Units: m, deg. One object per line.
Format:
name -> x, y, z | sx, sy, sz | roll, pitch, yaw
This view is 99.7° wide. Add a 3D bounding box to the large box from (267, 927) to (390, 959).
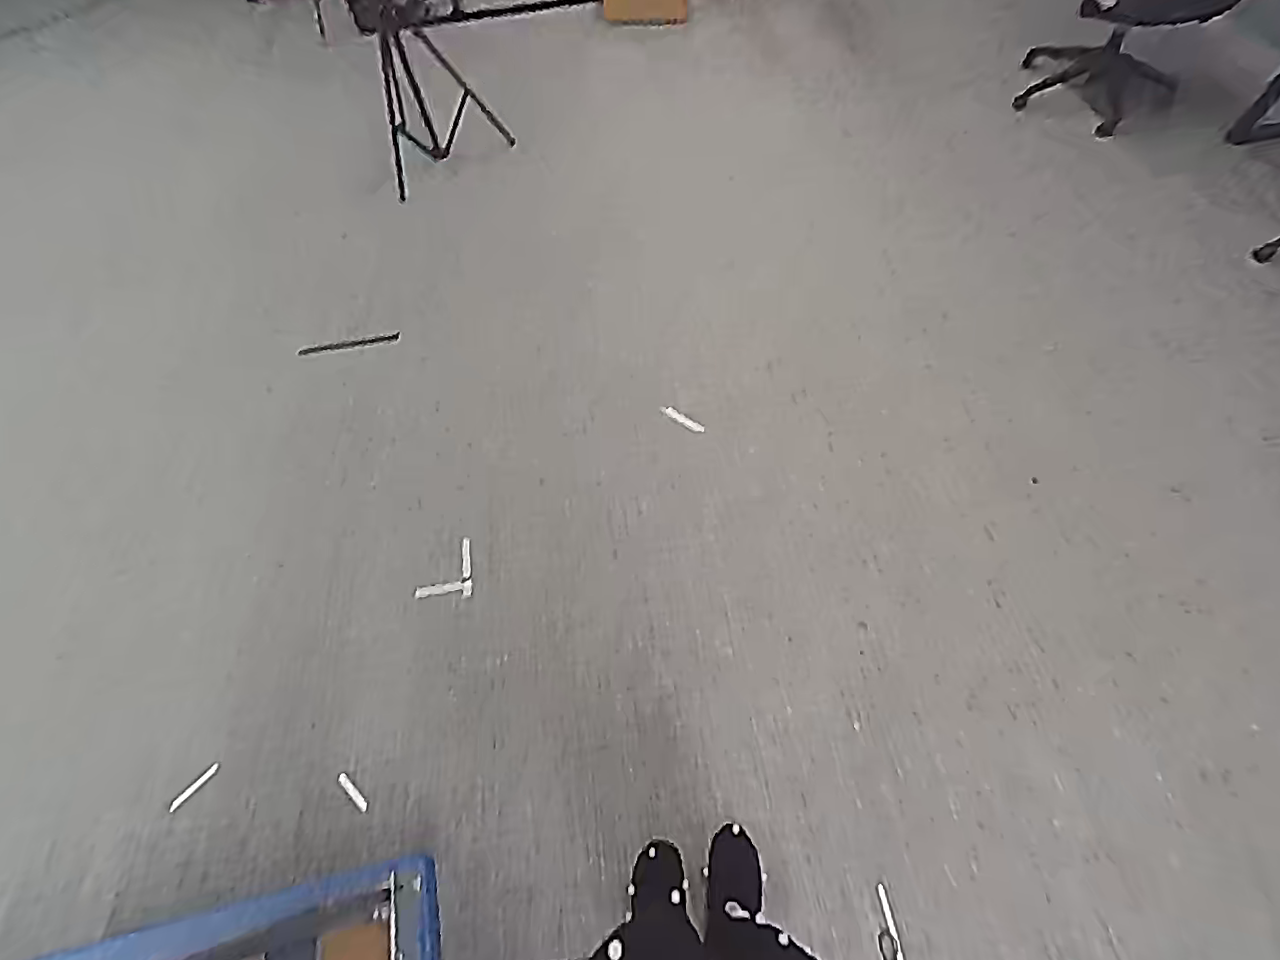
large box -> -0.578, 0.964, 0.781 | 0.320, 0.320, 0.408 | -14, 60, -4
